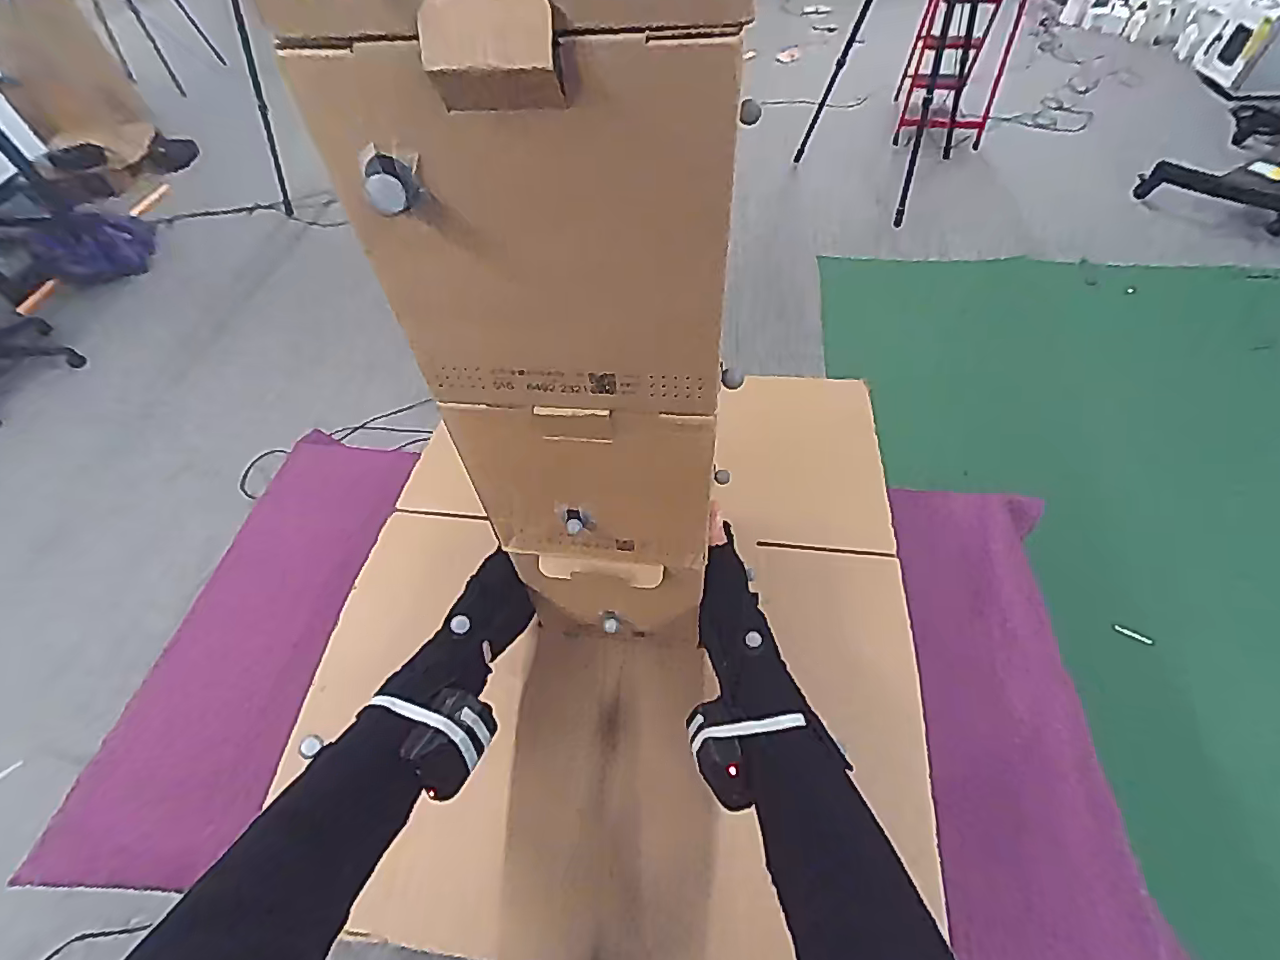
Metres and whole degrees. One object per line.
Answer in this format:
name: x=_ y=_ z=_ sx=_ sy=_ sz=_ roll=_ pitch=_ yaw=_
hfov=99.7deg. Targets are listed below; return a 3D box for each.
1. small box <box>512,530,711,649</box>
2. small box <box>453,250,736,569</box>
small box: x=-0.010 y=0.048 z=0.549 sx=0.168 sy=0.176 sz=0.179 roll=5 pitch=52 yaw=8
small box: x=-0.018 y=-0.054 z=0.422 sx=0.168 sy=0.176 sz=0.179 roll=4 pitch=52 yaw=6
